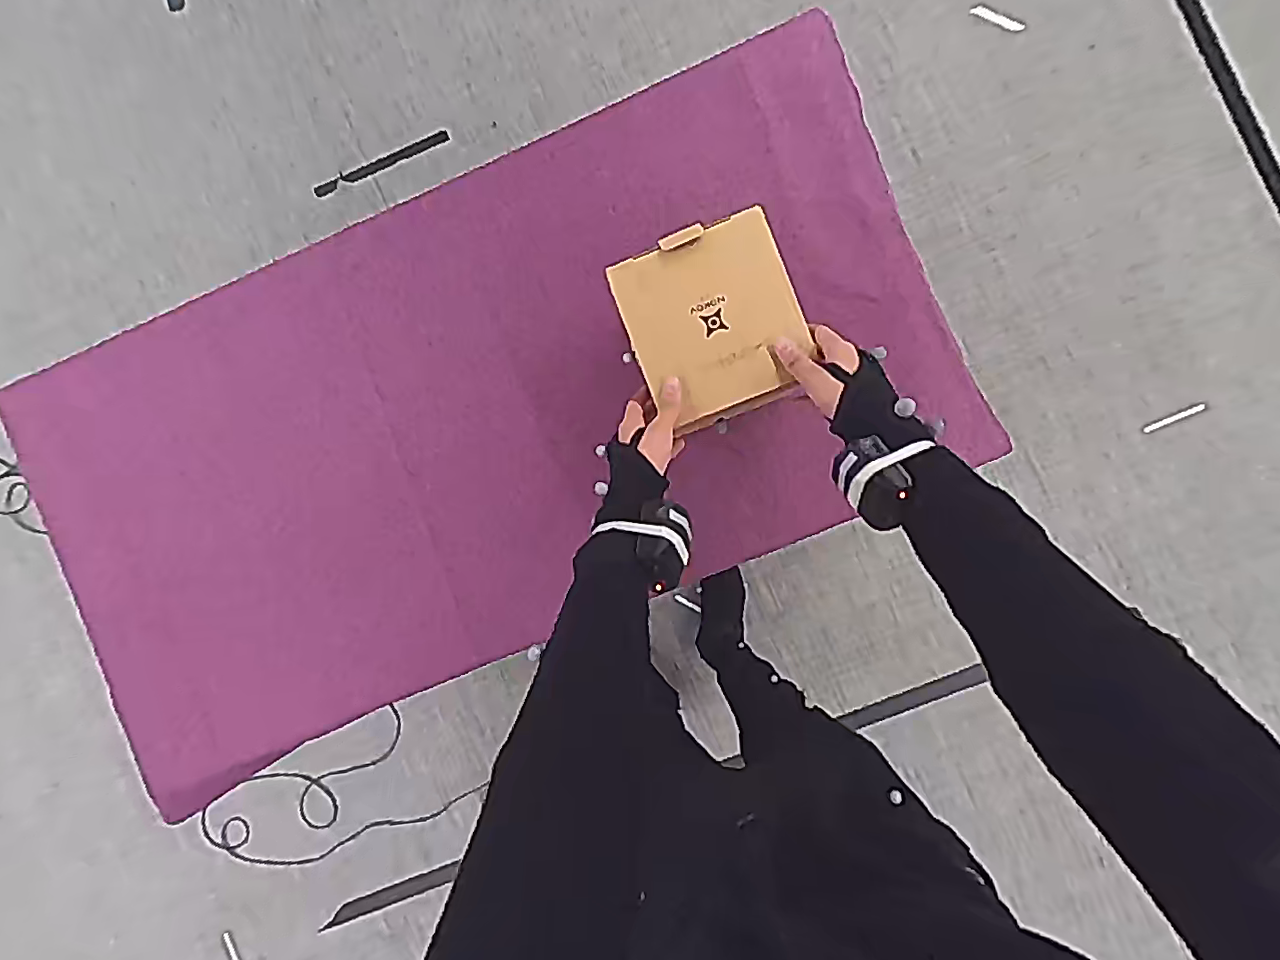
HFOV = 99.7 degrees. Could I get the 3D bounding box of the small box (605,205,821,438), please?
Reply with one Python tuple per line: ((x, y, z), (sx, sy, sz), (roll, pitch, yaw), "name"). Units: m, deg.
((0.074, -0.157, 0.600), (0.168, 0.176, 0.179), (-20, 89, 5), "small box")
